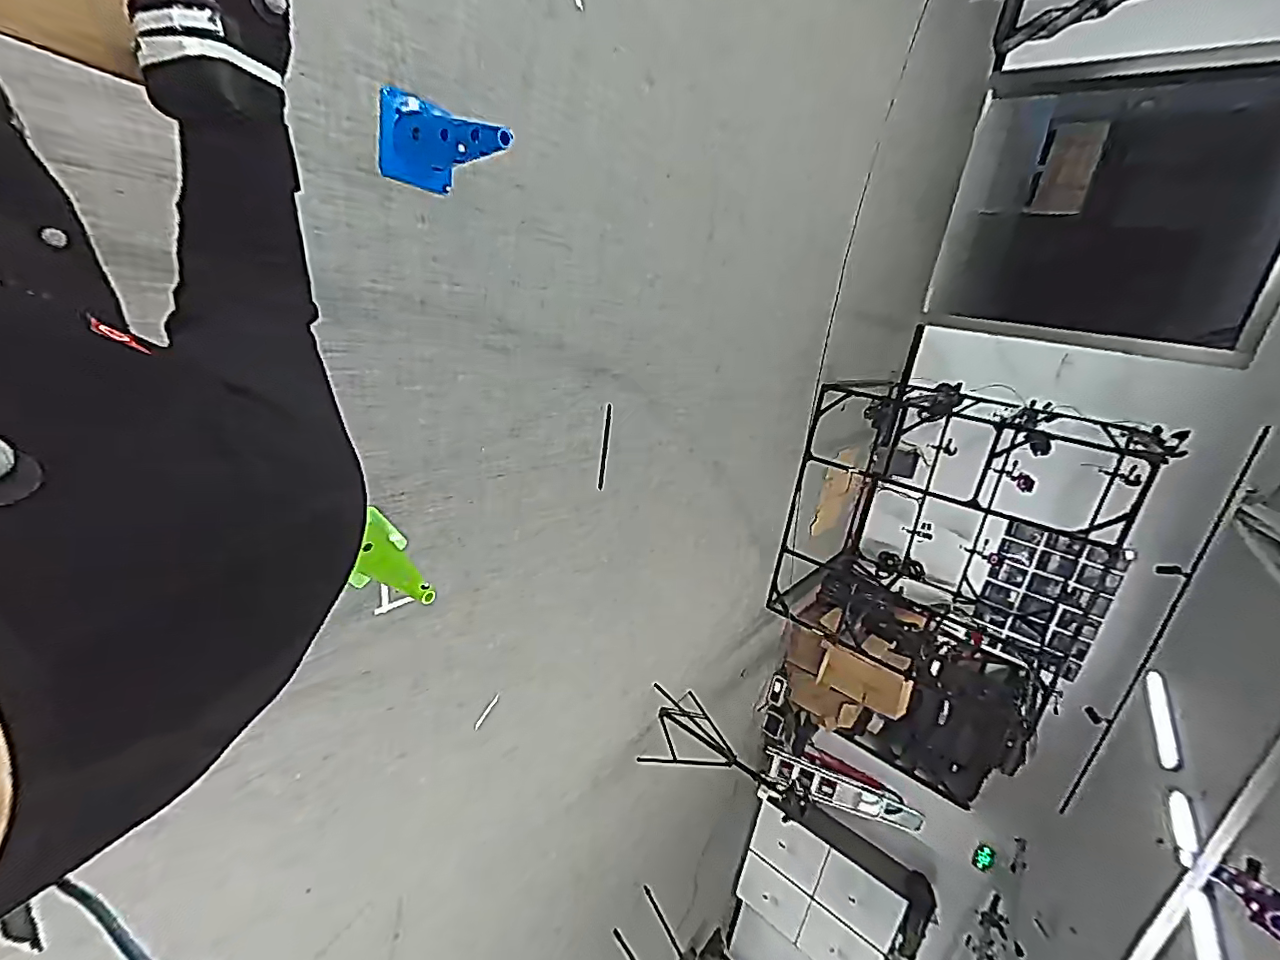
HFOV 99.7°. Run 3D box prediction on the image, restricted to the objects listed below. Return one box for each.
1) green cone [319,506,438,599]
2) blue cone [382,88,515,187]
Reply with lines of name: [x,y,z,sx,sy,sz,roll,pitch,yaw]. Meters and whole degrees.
green cone: [-0.697,0.251,1.534,0.202,0.368,0.200,-51,144,-26]
blue cone: [-0.445,-0.829,1.309,0.192,0.380,0.193,-11,117,-53]
